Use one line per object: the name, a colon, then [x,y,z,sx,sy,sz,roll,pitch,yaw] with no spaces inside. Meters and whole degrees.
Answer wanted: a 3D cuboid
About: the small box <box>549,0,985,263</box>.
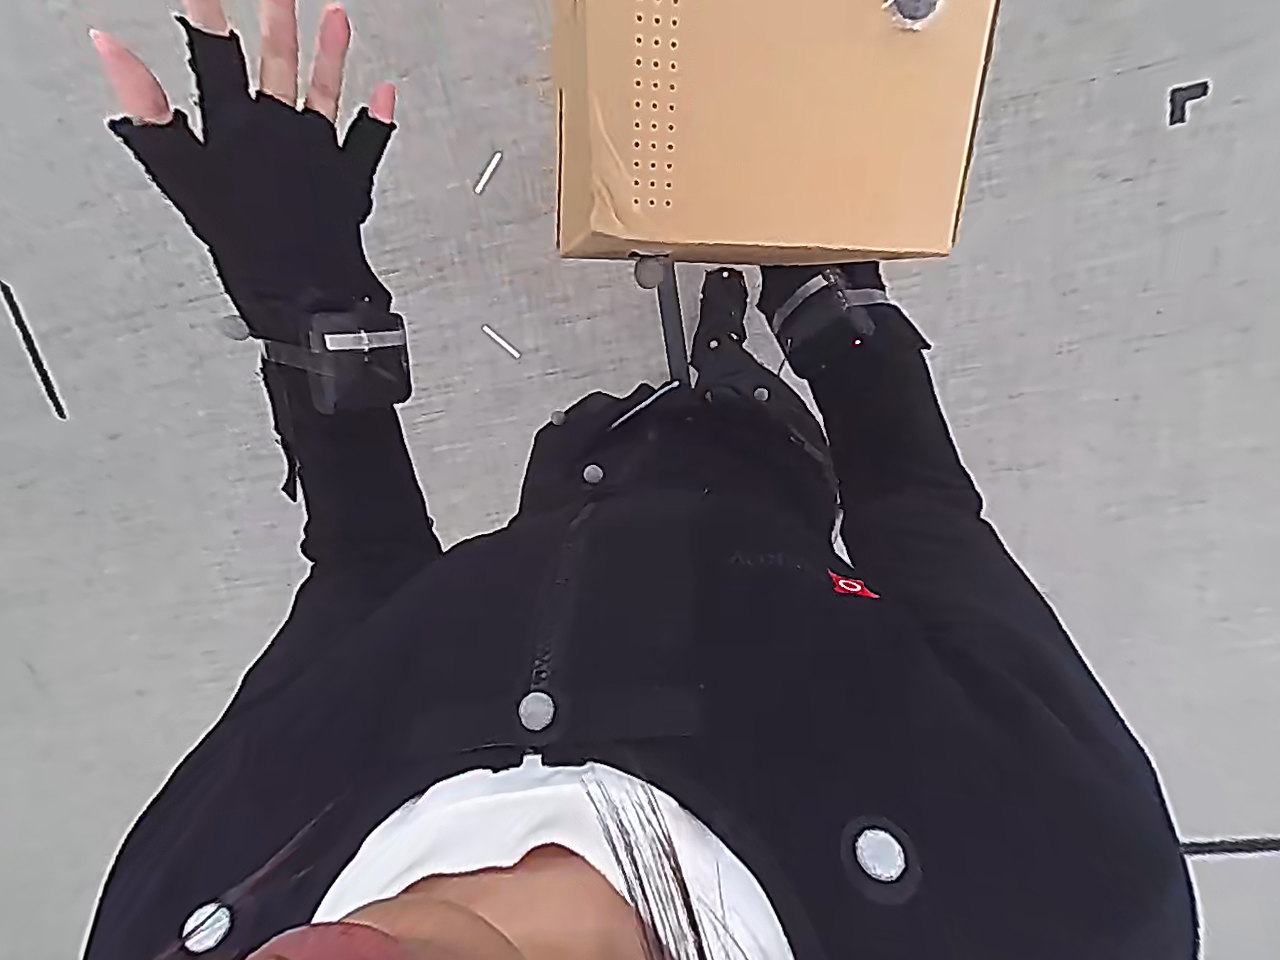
small box: [0.043,-0.212,0.282,0.176,0.168,0.179,-2,109,-11]
